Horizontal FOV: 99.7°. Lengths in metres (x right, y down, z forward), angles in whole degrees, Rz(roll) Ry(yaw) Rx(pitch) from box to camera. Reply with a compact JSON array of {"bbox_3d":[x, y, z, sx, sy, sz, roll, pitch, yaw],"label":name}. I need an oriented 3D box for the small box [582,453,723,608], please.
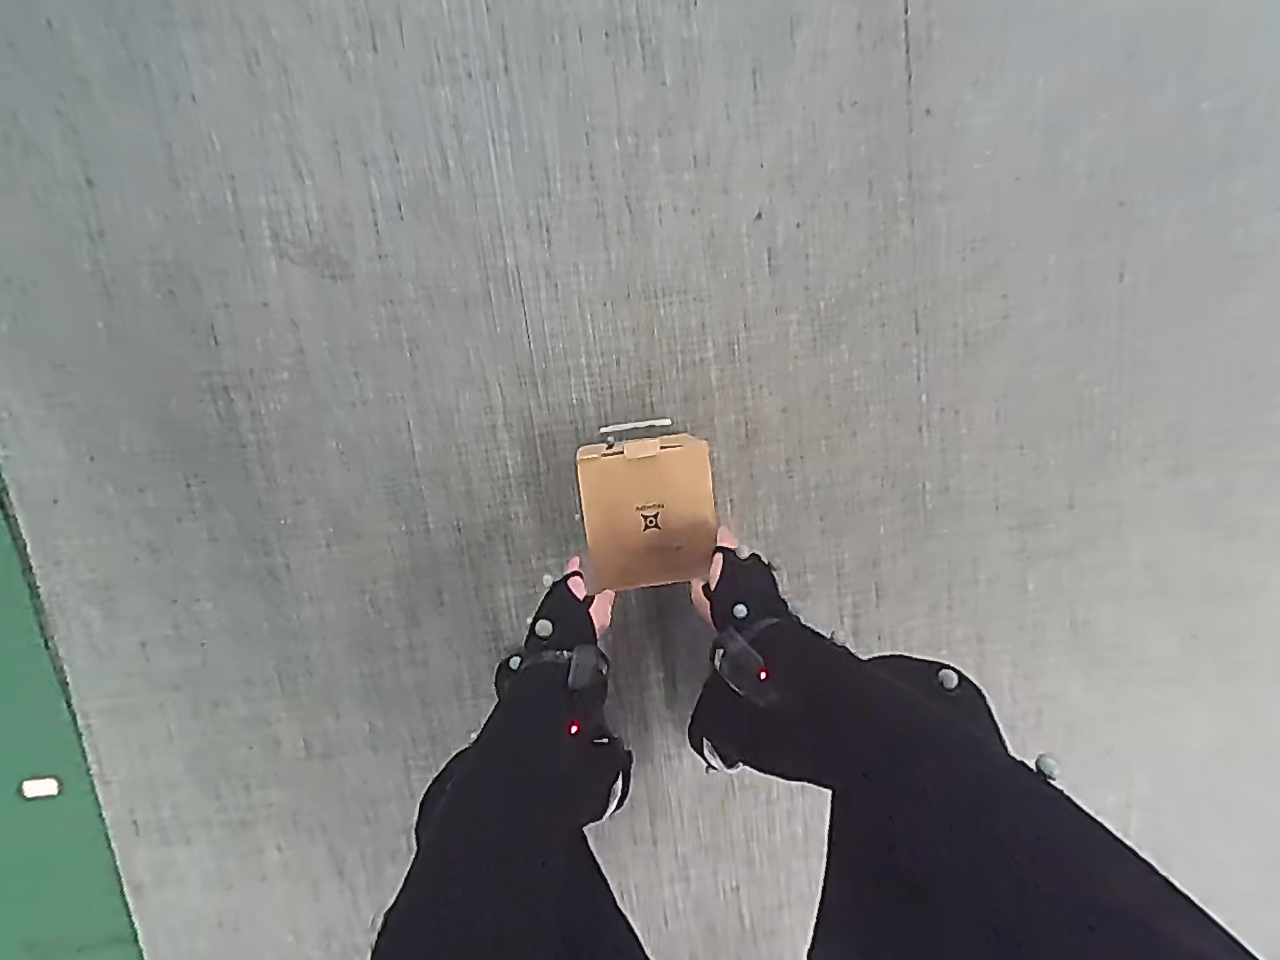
[{"bbox_3d":[0.012,0.056,0.736,0.168,0.176,0.179,-5,98,-2],"label":"small box"}]
